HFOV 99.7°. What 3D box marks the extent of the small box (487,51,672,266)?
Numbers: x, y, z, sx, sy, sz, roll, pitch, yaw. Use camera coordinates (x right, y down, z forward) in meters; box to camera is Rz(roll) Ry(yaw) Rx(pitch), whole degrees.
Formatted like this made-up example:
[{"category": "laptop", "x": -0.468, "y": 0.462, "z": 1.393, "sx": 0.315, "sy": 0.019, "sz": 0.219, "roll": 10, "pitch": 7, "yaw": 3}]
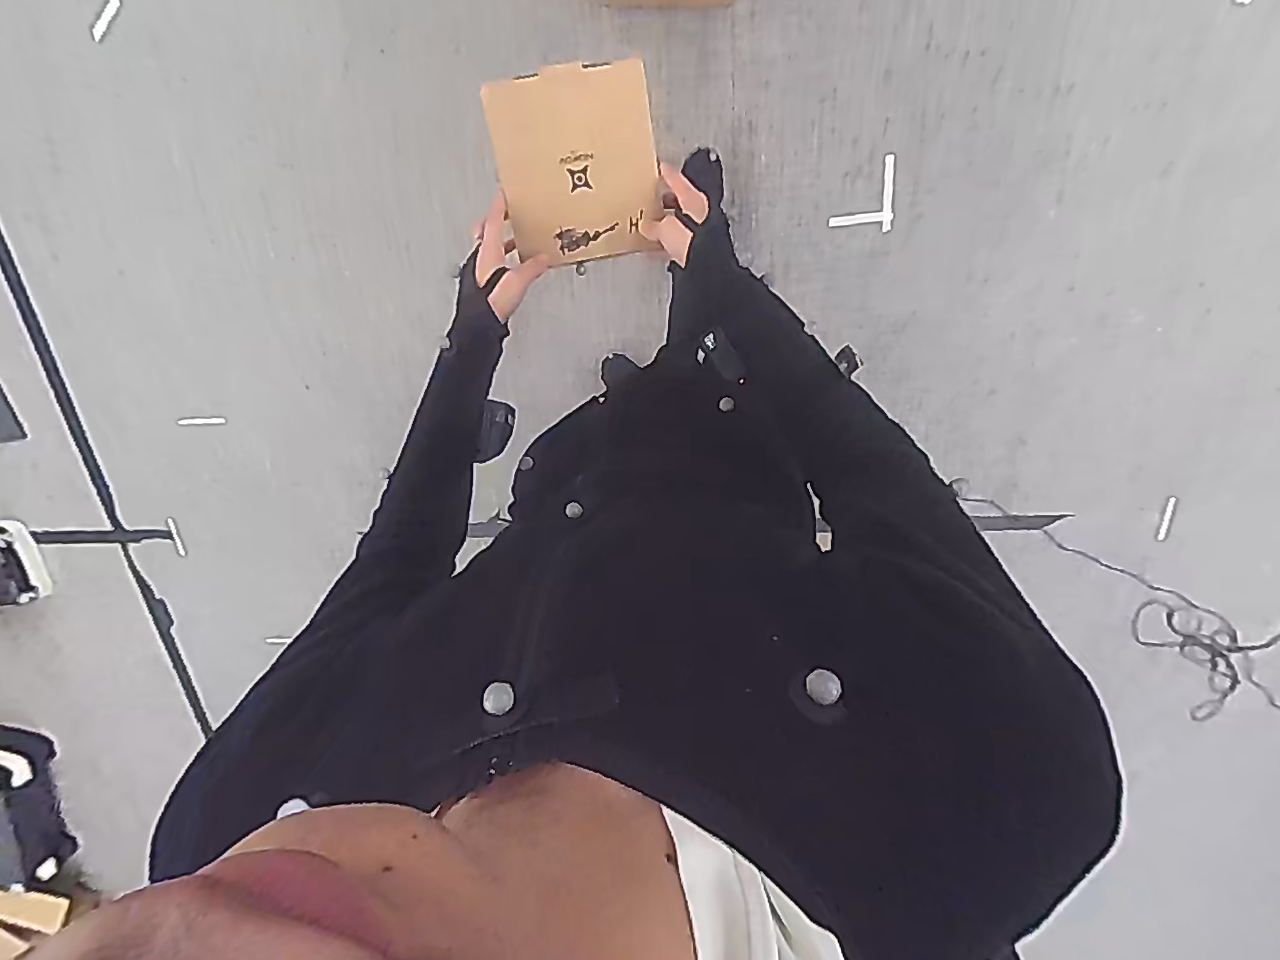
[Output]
[{"category": "small box", "x": -0.065, "y": -0.355, "z": 0.632, "sx": 0.168, "sy": 0.176, "sz": 0.179, "roll": -11, "pitch": 112, "yaw": 0}]
